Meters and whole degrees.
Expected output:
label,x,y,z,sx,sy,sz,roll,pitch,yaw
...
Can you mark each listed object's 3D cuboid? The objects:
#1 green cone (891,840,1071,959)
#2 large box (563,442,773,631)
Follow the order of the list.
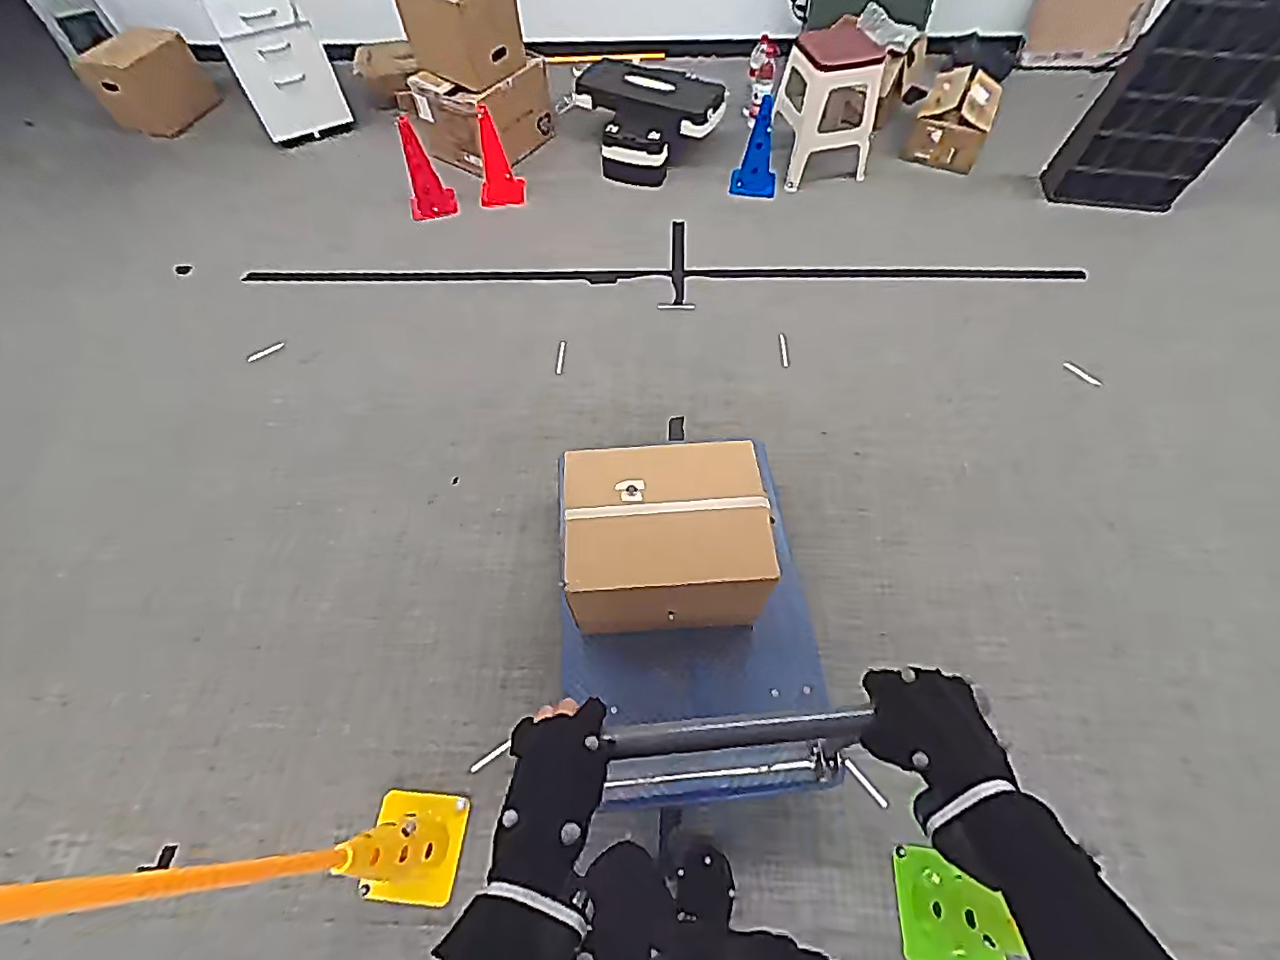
label,x,y,z,sx,sy,sz,roll,pitch,yaw
green cone,0.636,0.792,0.981,0.202,0.368,0.200,5,59,3
large box,0.051,0.139,1.219,0.408,0.320,0.320,-4,60,0
